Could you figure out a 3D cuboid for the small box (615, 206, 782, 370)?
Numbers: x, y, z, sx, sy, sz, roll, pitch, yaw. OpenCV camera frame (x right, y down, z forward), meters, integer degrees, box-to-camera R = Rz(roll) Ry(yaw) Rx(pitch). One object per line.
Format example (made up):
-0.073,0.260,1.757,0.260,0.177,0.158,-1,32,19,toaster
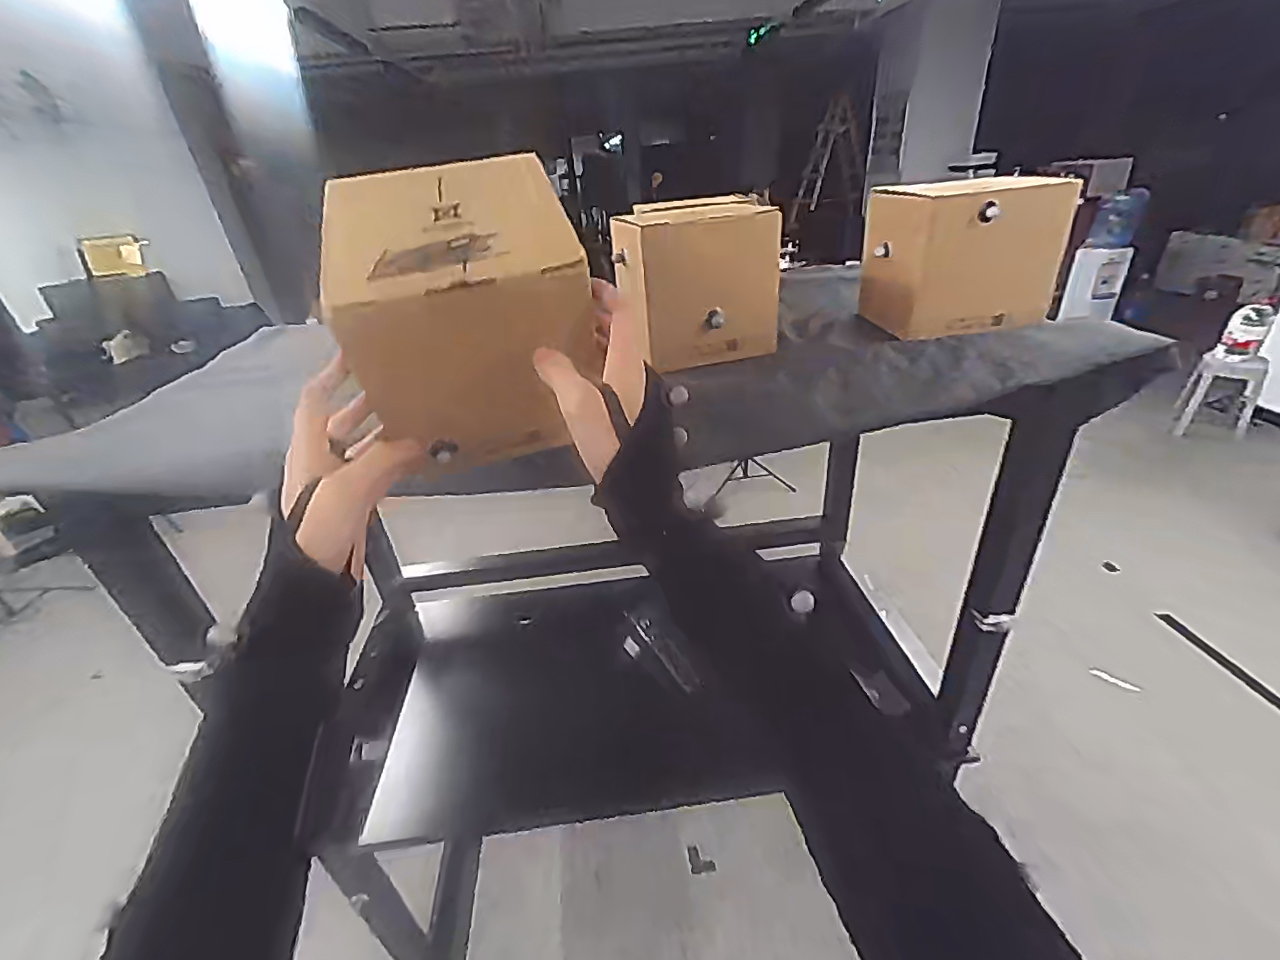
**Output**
0.068,-0.254,0.704,0.168,0.176,0.179,-11,31,-9,small box

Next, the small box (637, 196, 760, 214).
0.089,-0.365,0.893,0.179,0.176,0.168,-6,29,-1,small box

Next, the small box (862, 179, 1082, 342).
0.403,-0.284,0.697,0.168,0.176,0.179,-6,29,1,small box
